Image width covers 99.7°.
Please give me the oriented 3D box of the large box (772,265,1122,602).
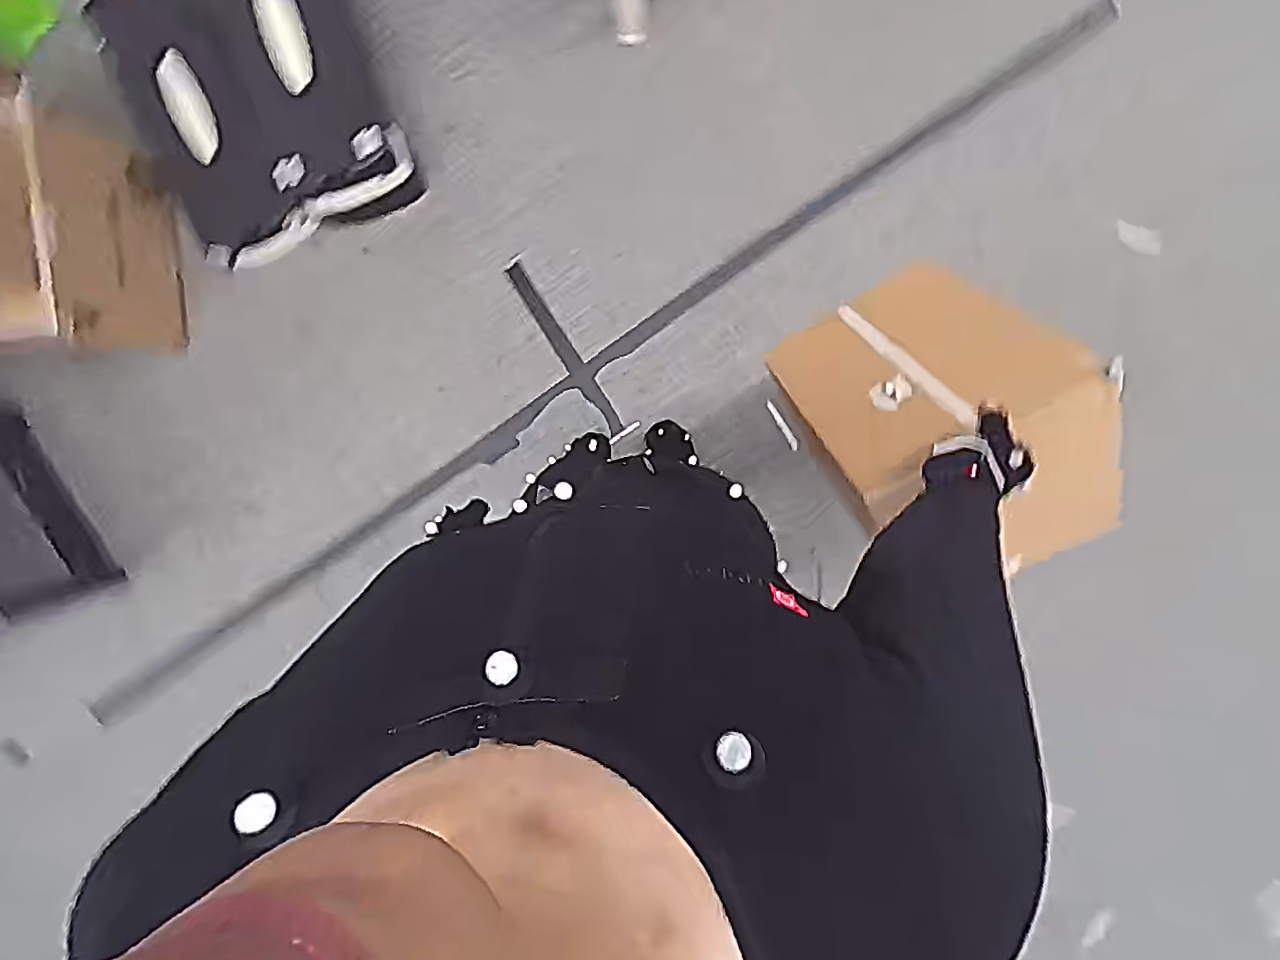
[{"bbox_3d":[0.472,-0.083,0.898,0.320,0.408,0.320,-29,129,14],"label":"large box"}]
